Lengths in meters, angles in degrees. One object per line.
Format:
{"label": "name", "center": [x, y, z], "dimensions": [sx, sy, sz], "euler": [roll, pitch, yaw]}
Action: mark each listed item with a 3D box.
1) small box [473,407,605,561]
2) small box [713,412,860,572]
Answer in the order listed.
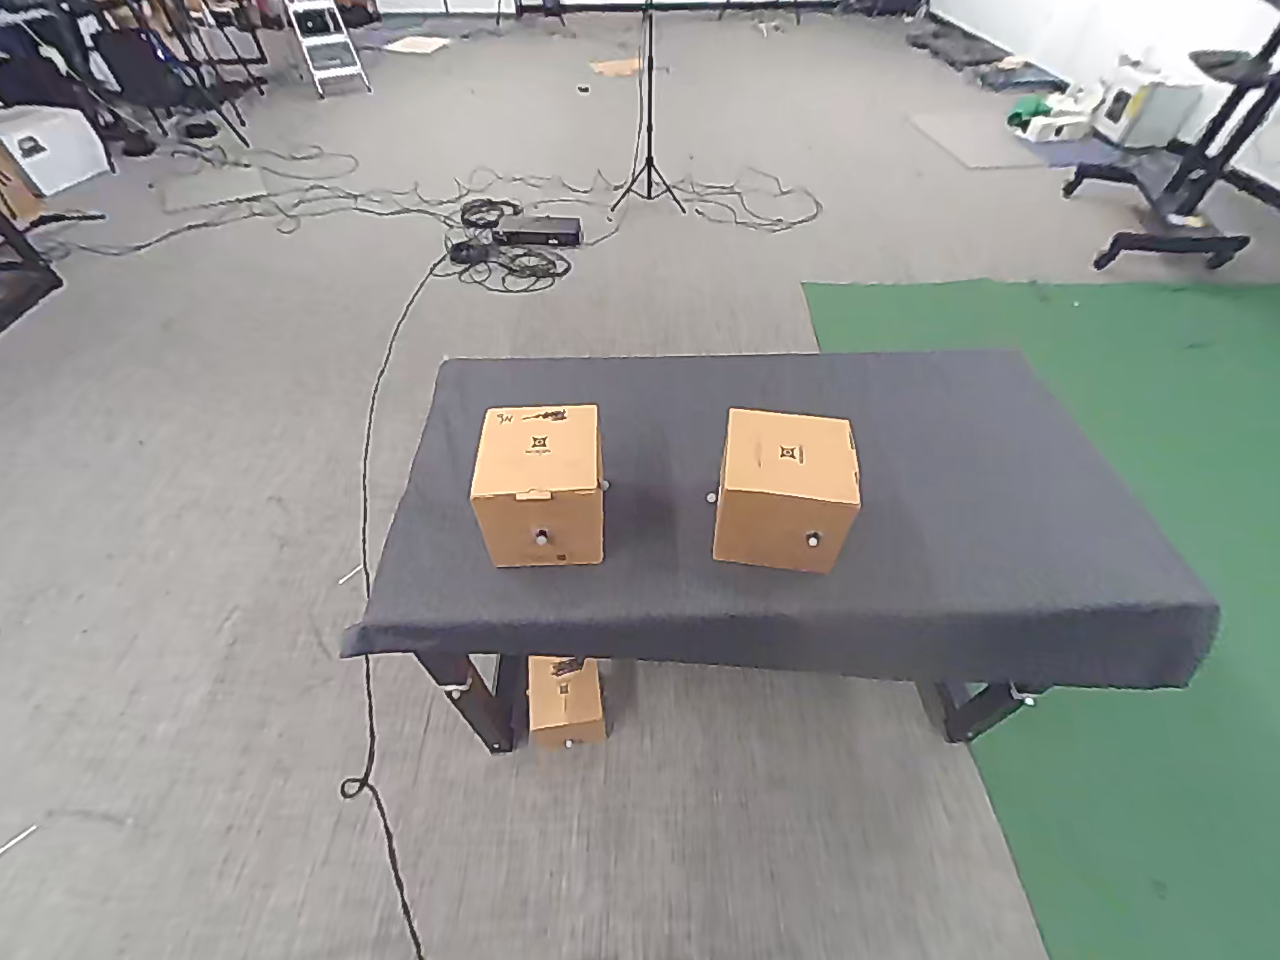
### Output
{"label": "small box", "center": [-0.139, 0.010, 0.814], "dimensions": [0.168, 0.176, 0.179], "euler": [-2, 48, -3]}
{"label": "small box", "center": [0.209, 0.021, 0.811], "dimensions": [0.179, 0.176, 0.168], "euler": [6, 47, 6]}
